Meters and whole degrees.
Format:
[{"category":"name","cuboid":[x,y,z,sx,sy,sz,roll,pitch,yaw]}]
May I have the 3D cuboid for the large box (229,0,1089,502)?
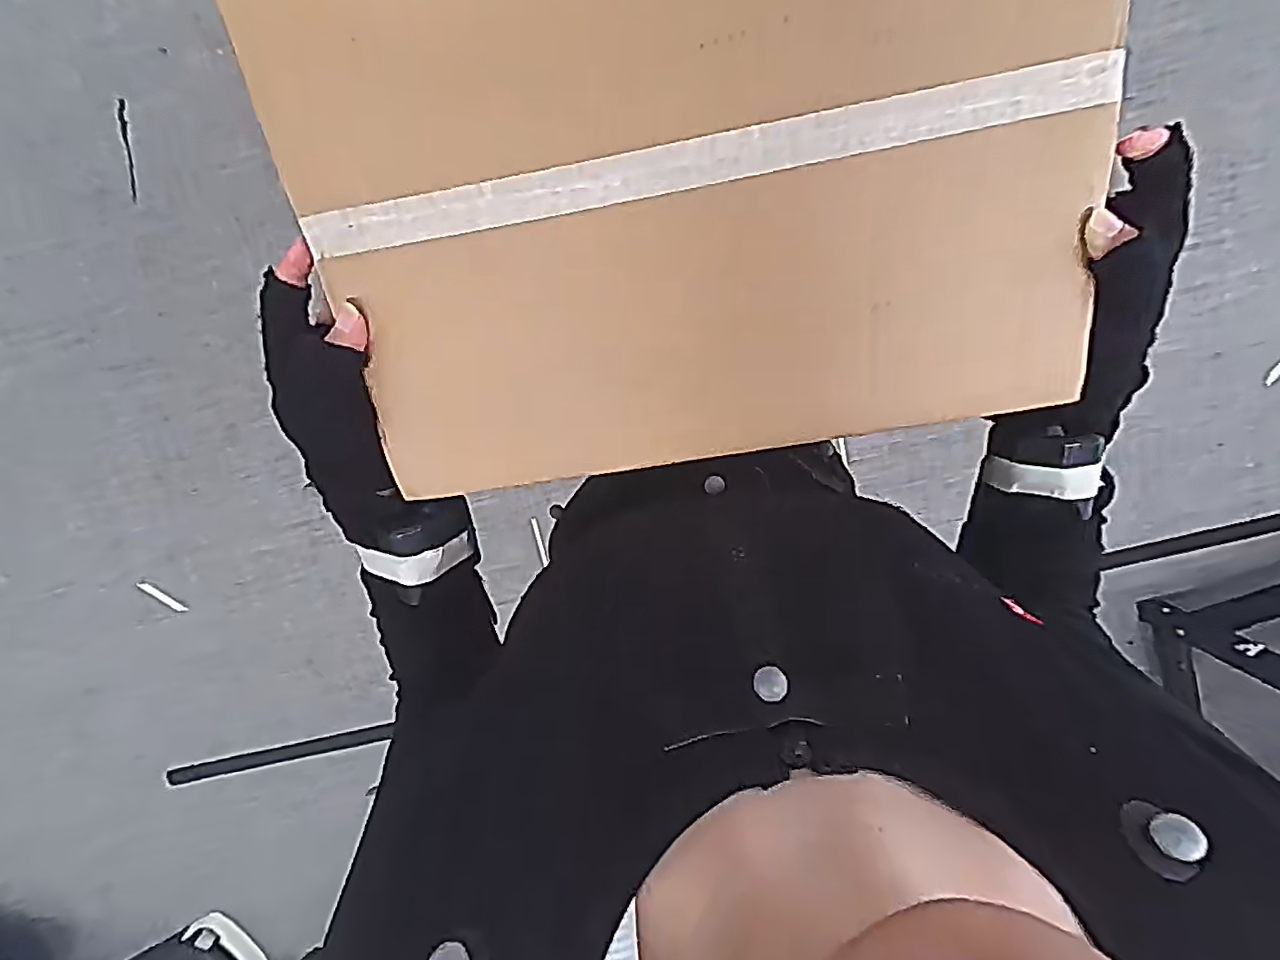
[{"category":"large box","cuboid":[0.024,-0.213,0.421,0.408,0.320,0.320,-9,111,5]}]
